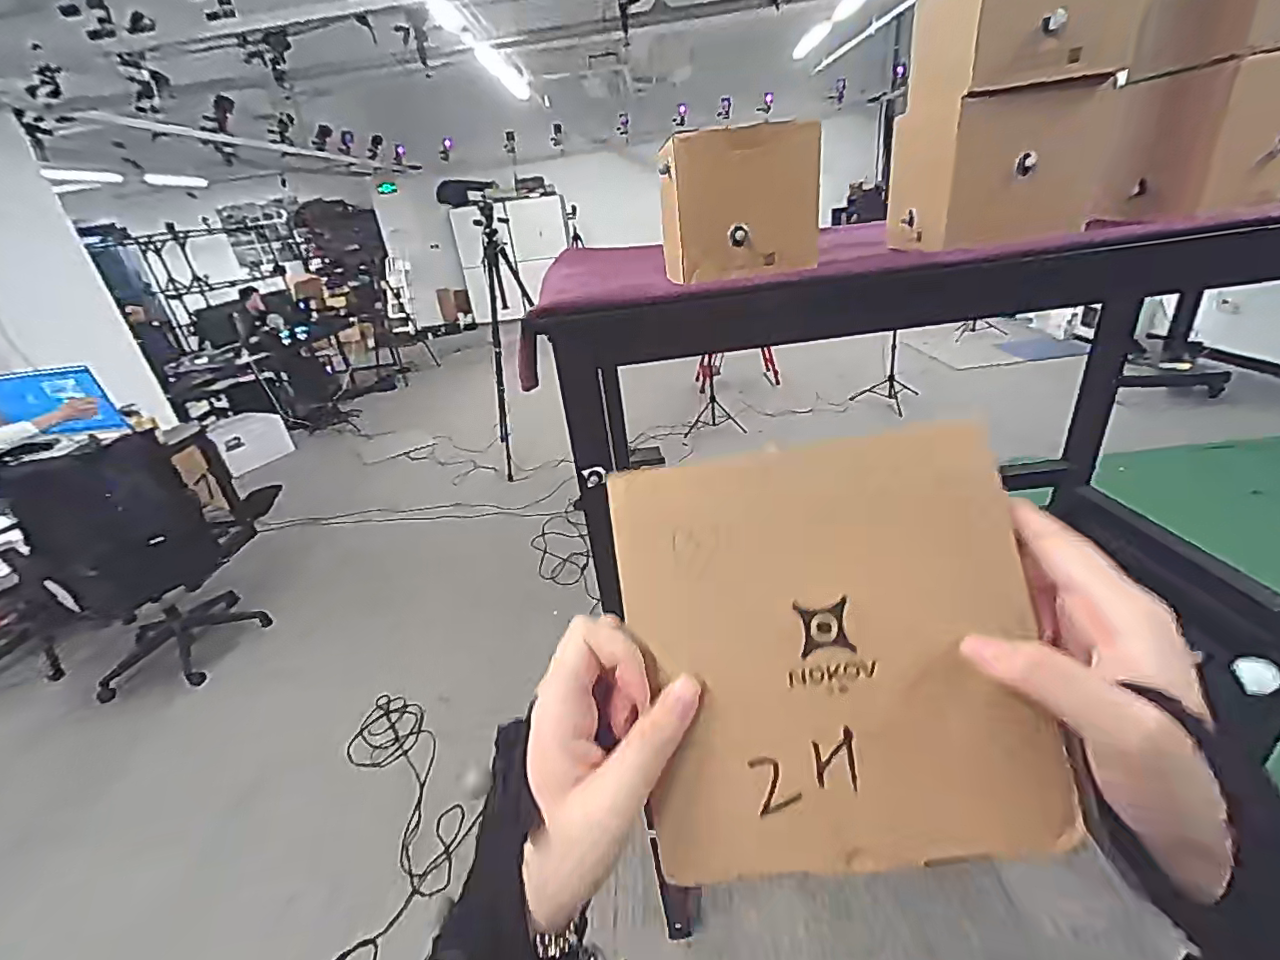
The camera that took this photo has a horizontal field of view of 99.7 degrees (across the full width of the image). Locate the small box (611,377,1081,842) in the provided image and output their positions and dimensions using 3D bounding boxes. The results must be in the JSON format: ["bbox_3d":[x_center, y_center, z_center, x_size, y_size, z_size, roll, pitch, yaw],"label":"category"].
[{"bbox_3d":[0.086,0.061,0.302,0.168,0.179,0.176,-9,-7,7],"label":"small box"}]

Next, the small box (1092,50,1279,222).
[{"bbox_3d":[0.734,-0.430,0.686,0.168,0.176,0.179,-6,28,3],"label":"small box"}]

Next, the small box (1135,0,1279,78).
[{"bbox_3d":[0.723,-0.574,0.610,0.168,0.176,0.179,-6,28,6],"label":"small box"}]

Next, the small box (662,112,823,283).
[{"bbox_3d":[0.122,-0.353,0.697,0.168,0.176,0.179,-7,26,-1],"label":"small box"}]

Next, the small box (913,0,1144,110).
[{"bbox_3d":[0.432,-0.540,0.616,0.168,0.176,0.179,-5,28,6],"label":"small box"}]
